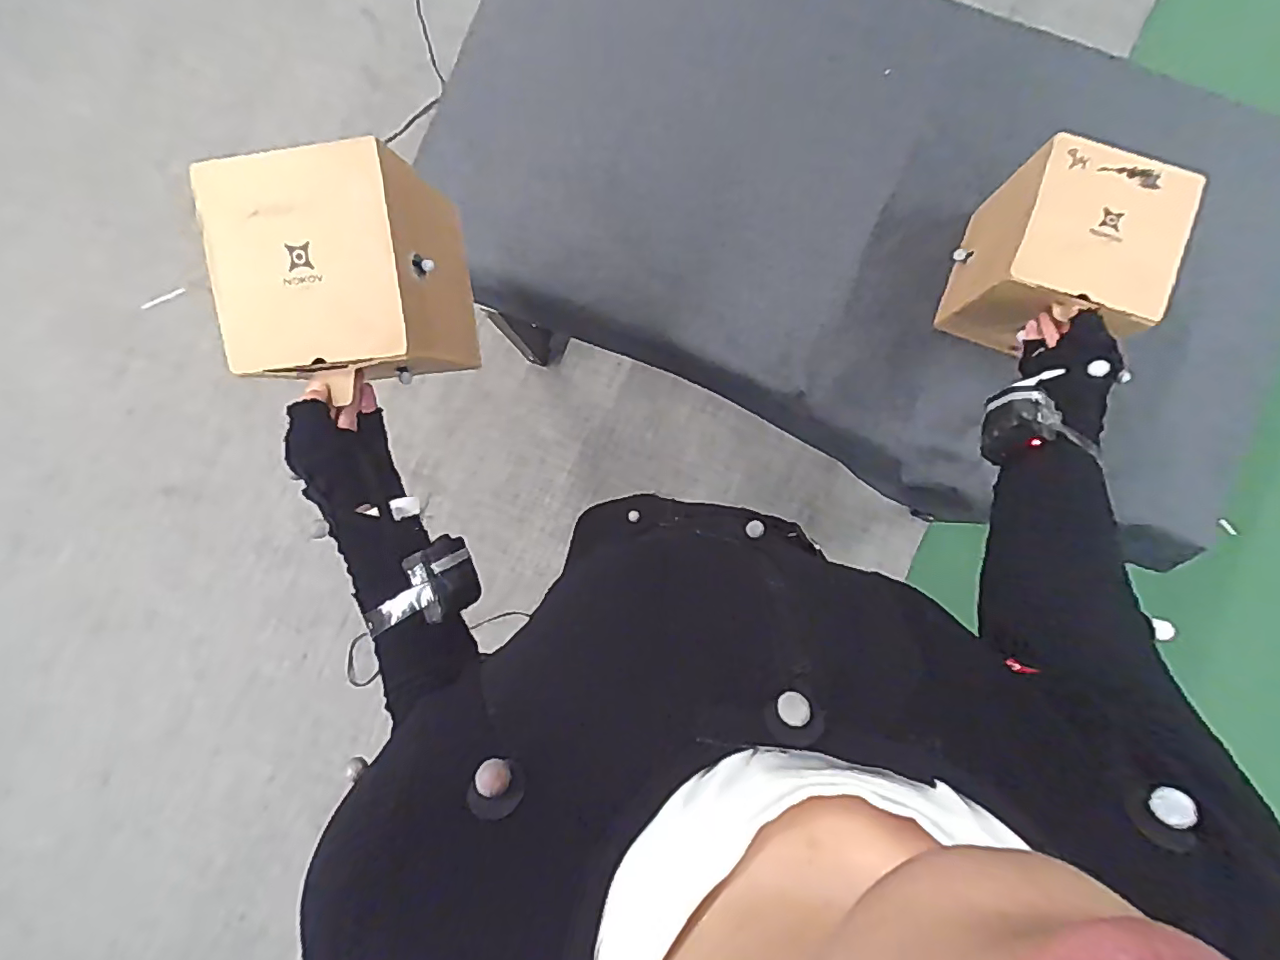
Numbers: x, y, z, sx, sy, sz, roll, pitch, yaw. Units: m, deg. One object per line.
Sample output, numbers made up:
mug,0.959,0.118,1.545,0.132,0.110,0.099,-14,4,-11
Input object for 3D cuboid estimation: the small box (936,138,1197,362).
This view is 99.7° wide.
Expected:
small box,0.502,-0.265,0.668,0.168,0.176,0.179,21,88,2

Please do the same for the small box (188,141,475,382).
small box,-0.274,-0.189,0.524,0.168,0.176,0.179,-5,98,5
